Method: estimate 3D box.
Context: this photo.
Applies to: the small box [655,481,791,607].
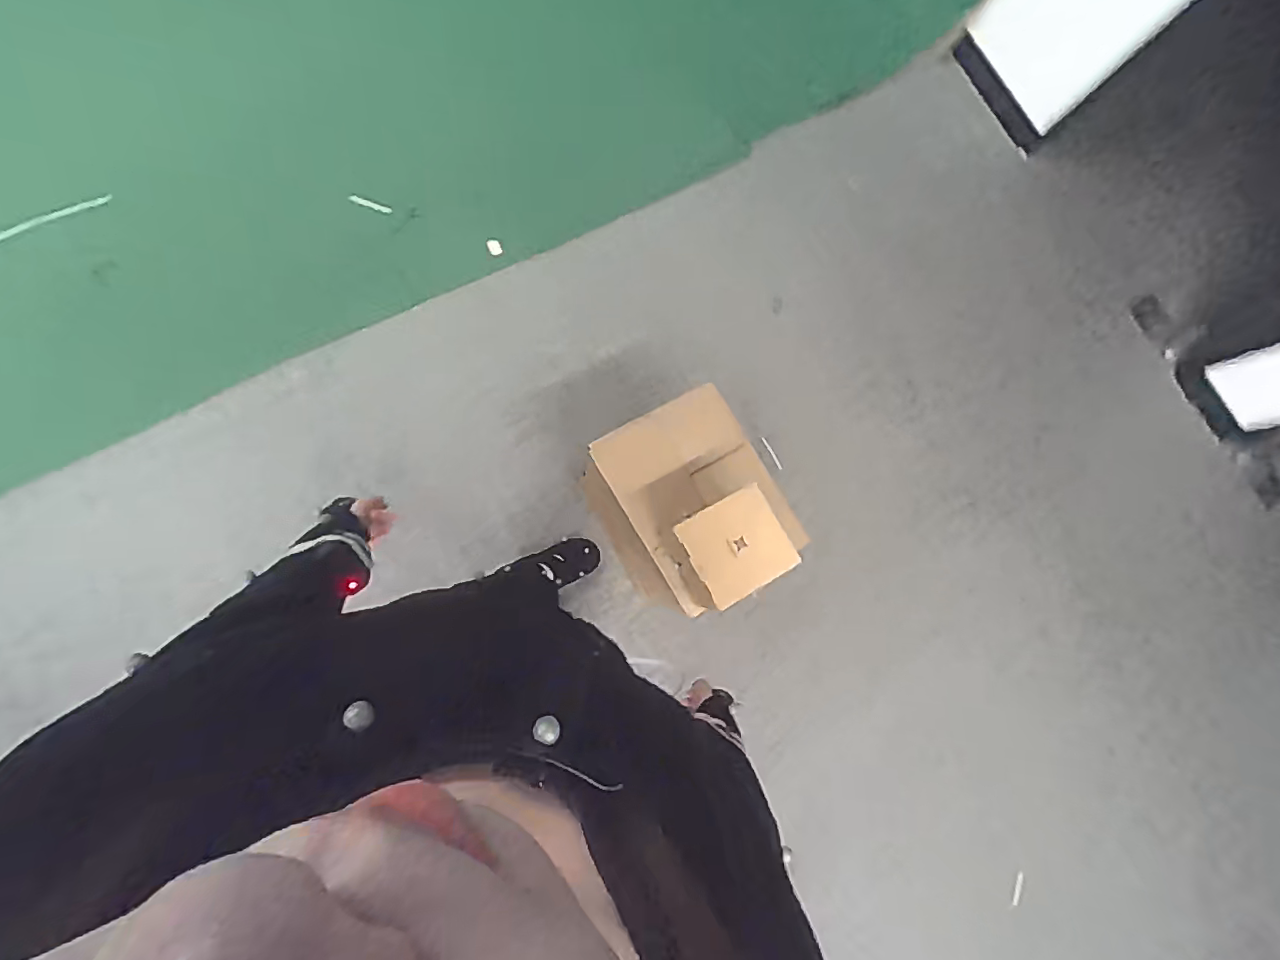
[{"bbox_3d":[0.147,0.120,1.025,0.179,0.176,0.168,-28,86,-11],"label":"small box"}]
